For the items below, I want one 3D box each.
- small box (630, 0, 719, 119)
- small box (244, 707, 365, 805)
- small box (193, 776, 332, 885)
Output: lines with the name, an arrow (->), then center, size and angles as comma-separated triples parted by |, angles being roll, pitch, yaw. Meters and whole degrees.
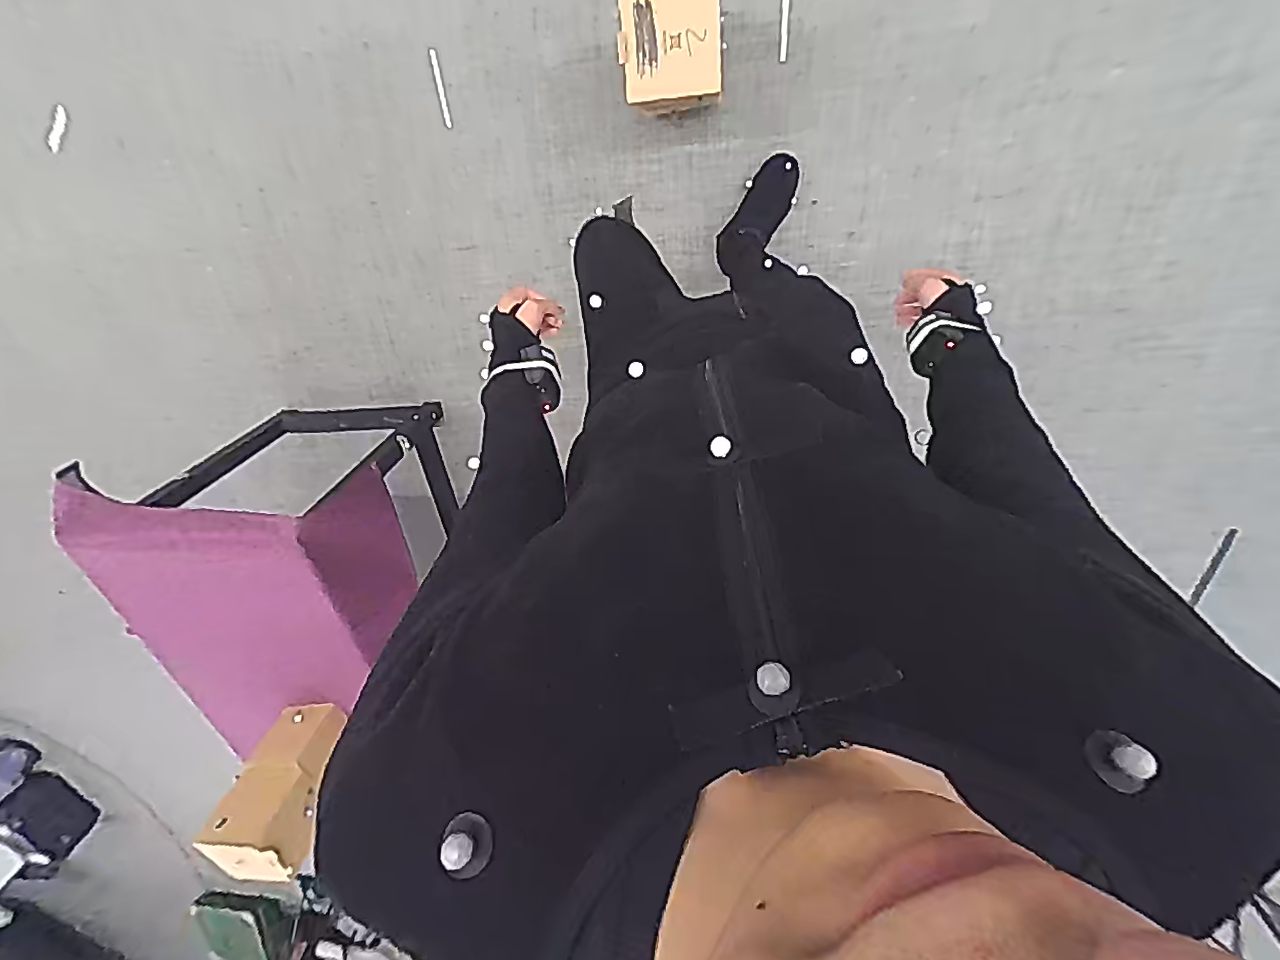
small box -> 0.082, -0.886, 1.151 | 0.168, 0.176, 0.179 | -4, 121, 10
small box -> -0.868, 0.725, 1.419 | 0.168, 0.176, 0.179 | -11, 120, 14
small box -> -0.890, 0.831, 1.292 | 0.179, 0.176, 0.168 | -6, 122, 11
